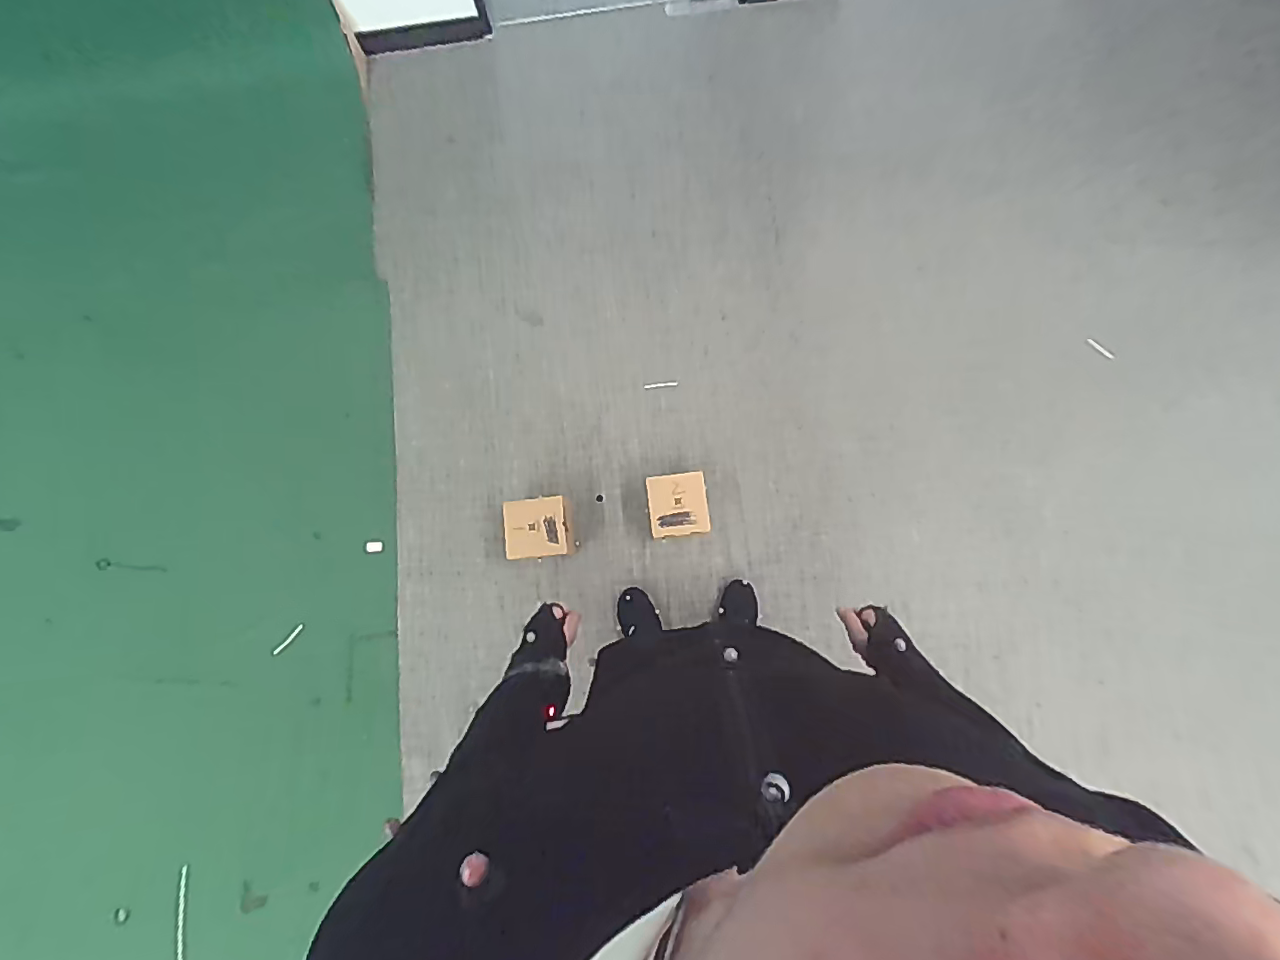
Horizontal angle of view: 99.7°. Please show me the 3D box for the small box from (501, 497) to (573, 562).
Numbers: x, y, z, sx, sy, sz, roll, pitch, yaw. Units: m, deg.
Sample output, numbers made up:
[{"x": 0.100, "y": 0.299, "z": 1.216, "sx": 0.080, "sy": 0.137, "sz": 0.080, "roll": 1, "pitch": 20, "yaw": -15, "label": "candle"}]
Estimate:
[{"x": -0.295, "y": 0.148, "z": 1.580, "sx": 0.179, "sy": 0.176, "sz": 0.168, "roll": -7, "pitch": 79, "yaw": 1, "label": "small box"}]
